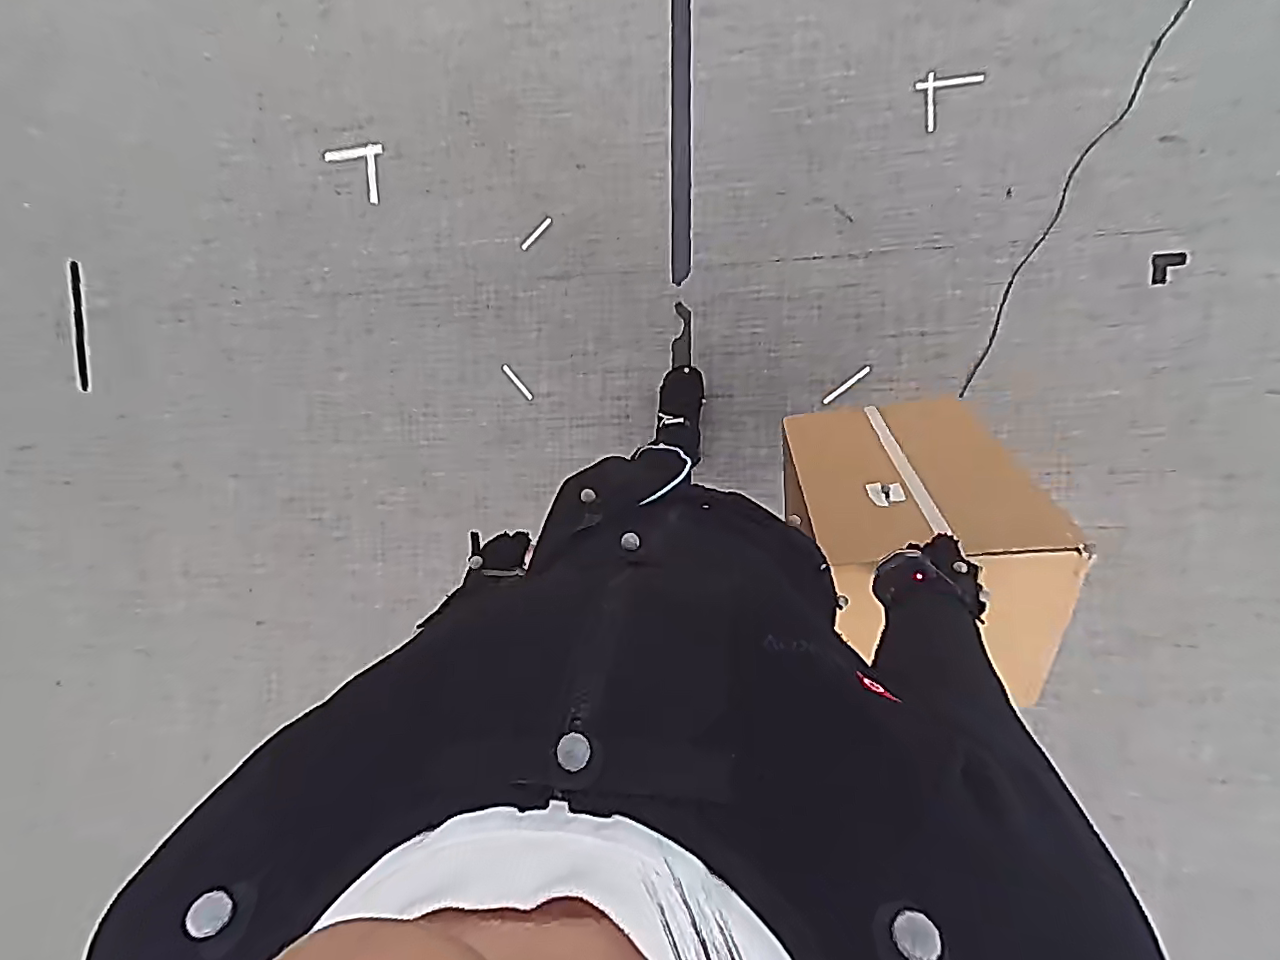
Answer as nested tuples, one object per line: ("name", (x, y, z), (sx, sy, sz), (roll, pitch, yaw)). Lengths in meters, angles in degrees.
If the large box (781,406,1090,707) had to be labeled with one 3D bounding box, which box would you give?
("large box", (0.427, 0.114, 0.914), (0.320, 0.408, 0.320), (-6, 124, 9))
